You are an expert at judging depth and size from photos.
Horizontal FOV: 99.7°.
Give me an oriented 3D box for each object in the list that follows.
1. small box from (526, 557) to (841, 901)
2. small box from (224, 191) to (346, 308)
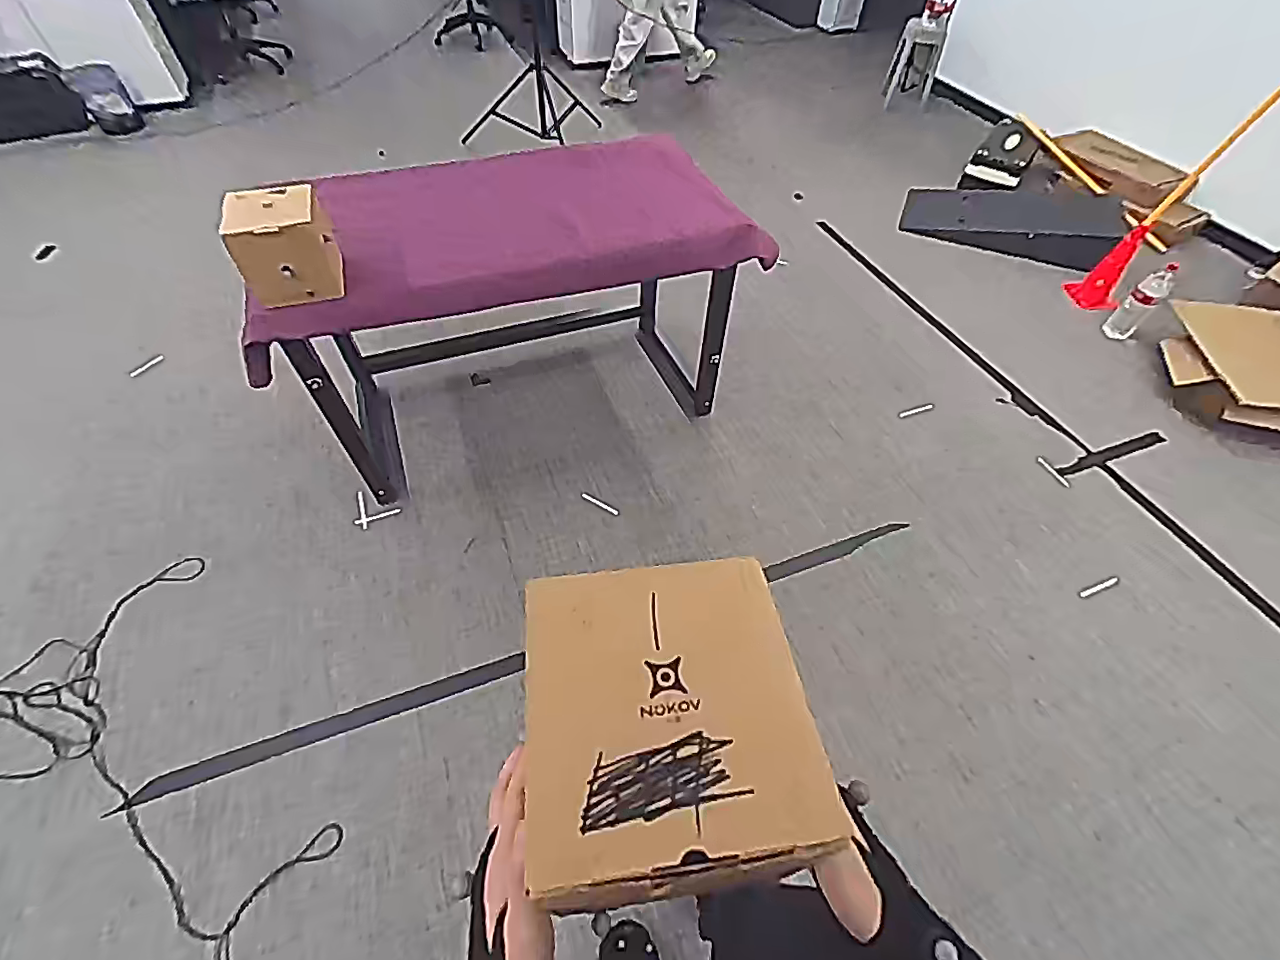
[{"bbox_3d":[0.014,0.180,0.385,0.168,0.176,0.179,-4,48,-6],"label":"small box"},{"bbox_3d":[-0.749,-0.486,1.158,0.168,0.176,0.179,-15,55,-14],"label":"small box"}]
